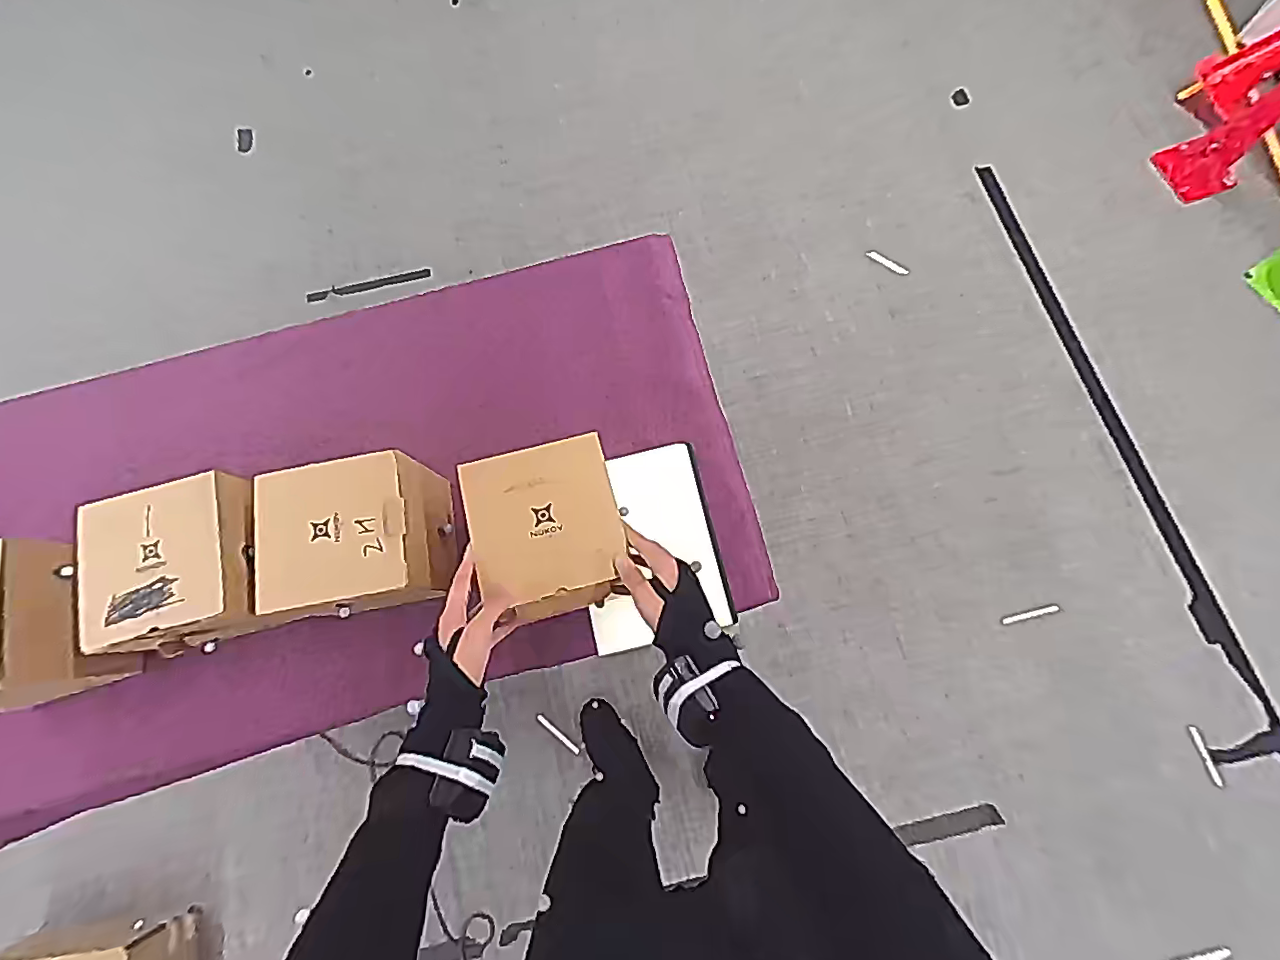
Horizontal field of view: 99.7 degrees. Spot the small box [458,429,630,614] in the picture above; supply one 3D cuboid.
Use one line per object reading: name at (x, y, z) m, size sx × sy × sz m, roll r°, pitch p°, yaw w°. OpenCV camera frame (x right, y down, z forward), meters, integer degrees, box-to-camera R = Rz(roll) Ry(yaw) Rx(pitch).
small box at (-0.109, 0.062, 0.670) m, size 0.168 × 0.176 × 0.179 m, roll -14°, pitch 72°, yaw -6°
